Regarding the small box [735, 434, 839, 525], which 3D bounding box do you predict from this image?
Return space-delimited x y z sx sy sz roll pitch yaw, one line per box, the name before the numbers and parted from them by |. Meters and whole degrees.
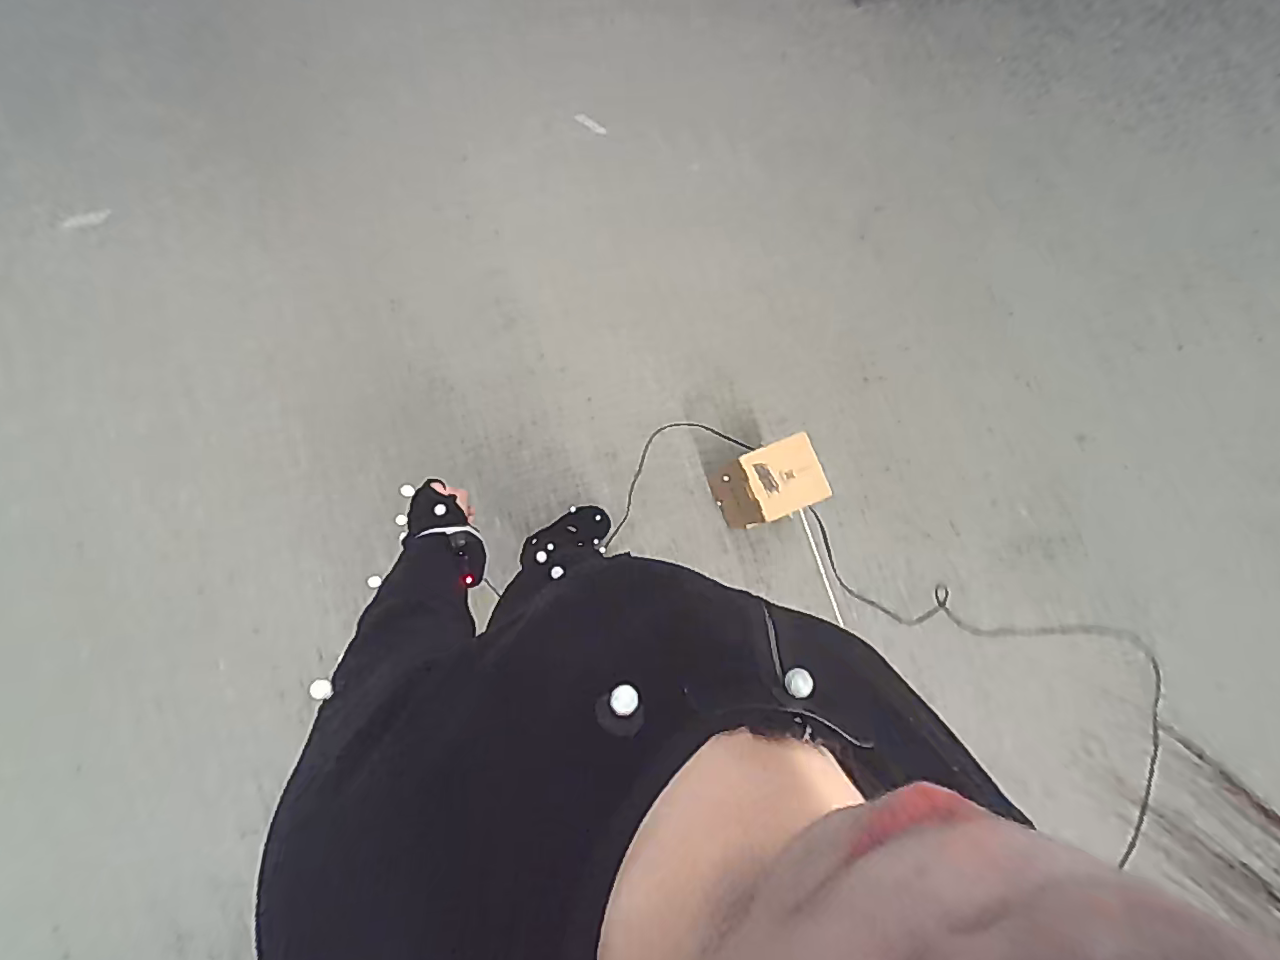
small box | 0.347 0.007 1.324 0.179 0.176 0.168 -21 85 -8
